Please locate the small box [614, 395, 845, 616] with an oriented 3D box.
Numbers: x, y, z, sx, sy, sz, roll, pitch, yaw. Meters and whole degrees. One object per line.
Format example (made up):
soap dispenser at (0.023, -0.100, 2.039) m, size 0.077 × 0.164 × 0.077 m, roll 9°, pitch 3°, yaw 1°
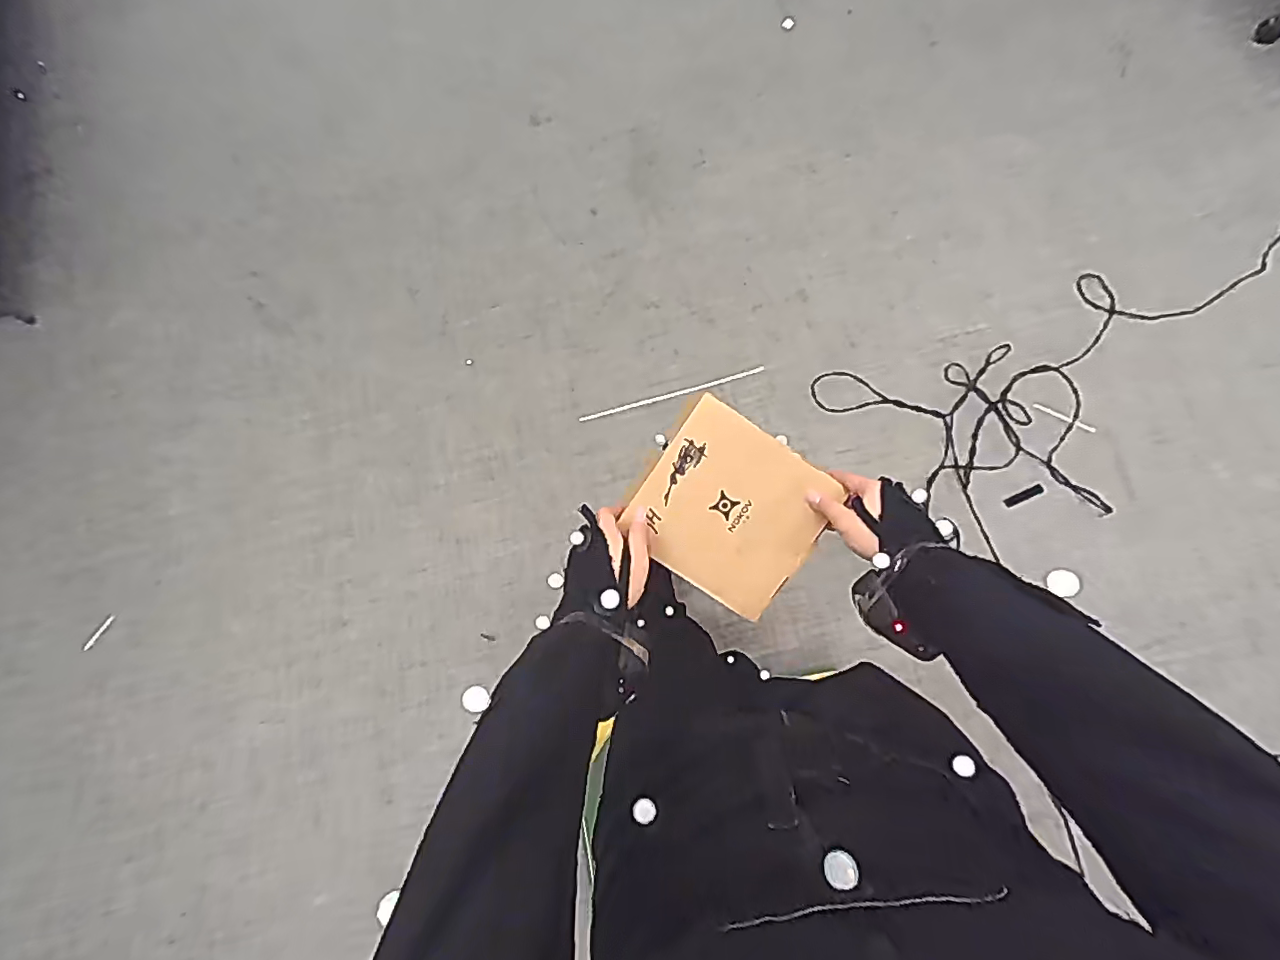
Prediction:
small box at (0.091, 0.018, 0.617) m, size 0.179 × 0.176 × 0.168 m, roll 34°, pitch 96°, yaw -3°
